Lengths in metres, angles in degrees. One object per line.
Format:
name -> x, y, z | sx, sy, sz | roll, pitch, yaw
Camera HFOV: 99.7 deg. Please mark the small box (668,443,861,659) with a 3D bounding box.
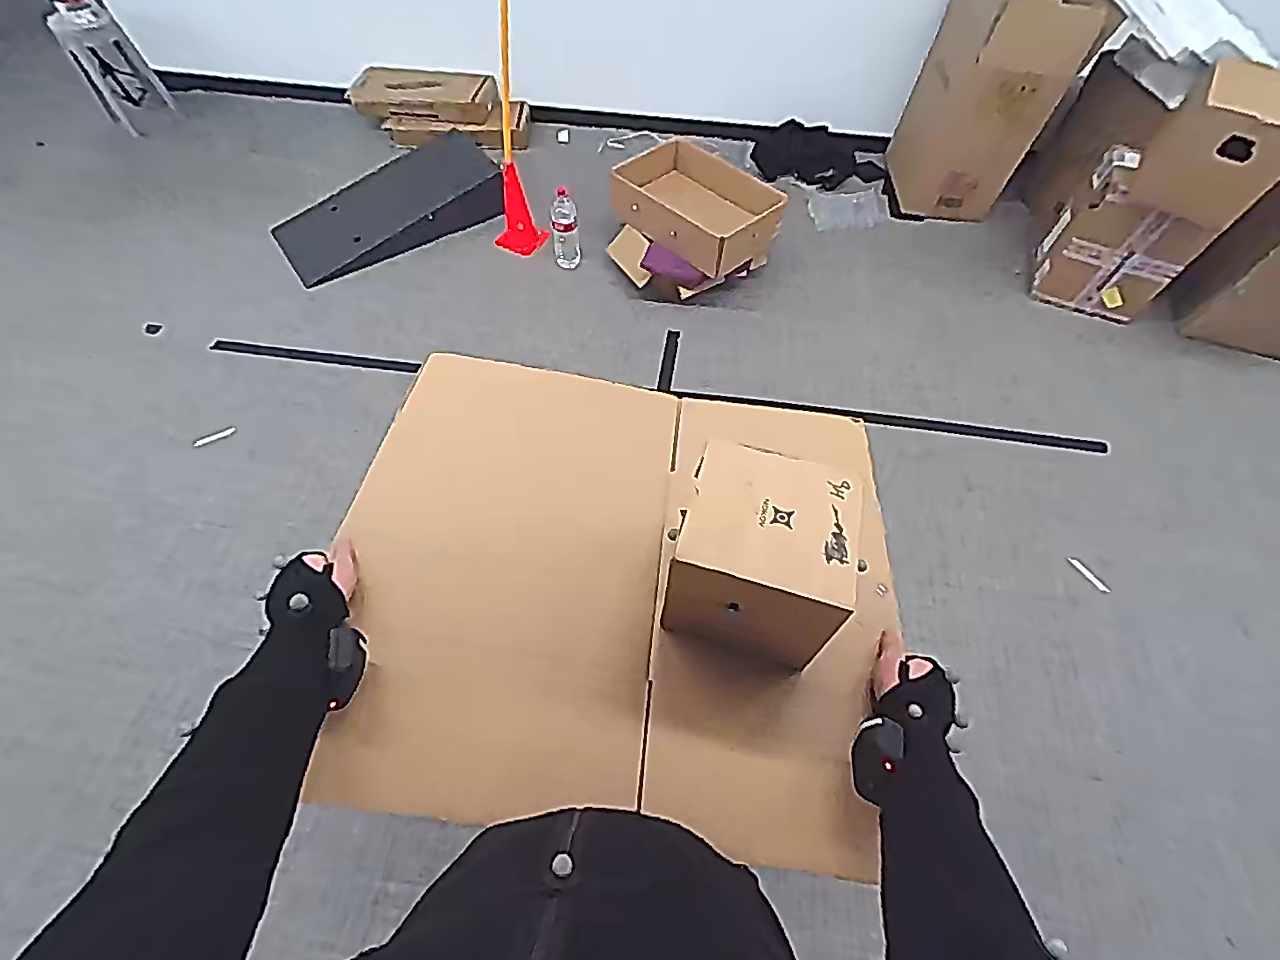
small box -> 0.136, 0.087, 0.624 | 0.179, 0.176, 0.168 | 14, 55, 9
